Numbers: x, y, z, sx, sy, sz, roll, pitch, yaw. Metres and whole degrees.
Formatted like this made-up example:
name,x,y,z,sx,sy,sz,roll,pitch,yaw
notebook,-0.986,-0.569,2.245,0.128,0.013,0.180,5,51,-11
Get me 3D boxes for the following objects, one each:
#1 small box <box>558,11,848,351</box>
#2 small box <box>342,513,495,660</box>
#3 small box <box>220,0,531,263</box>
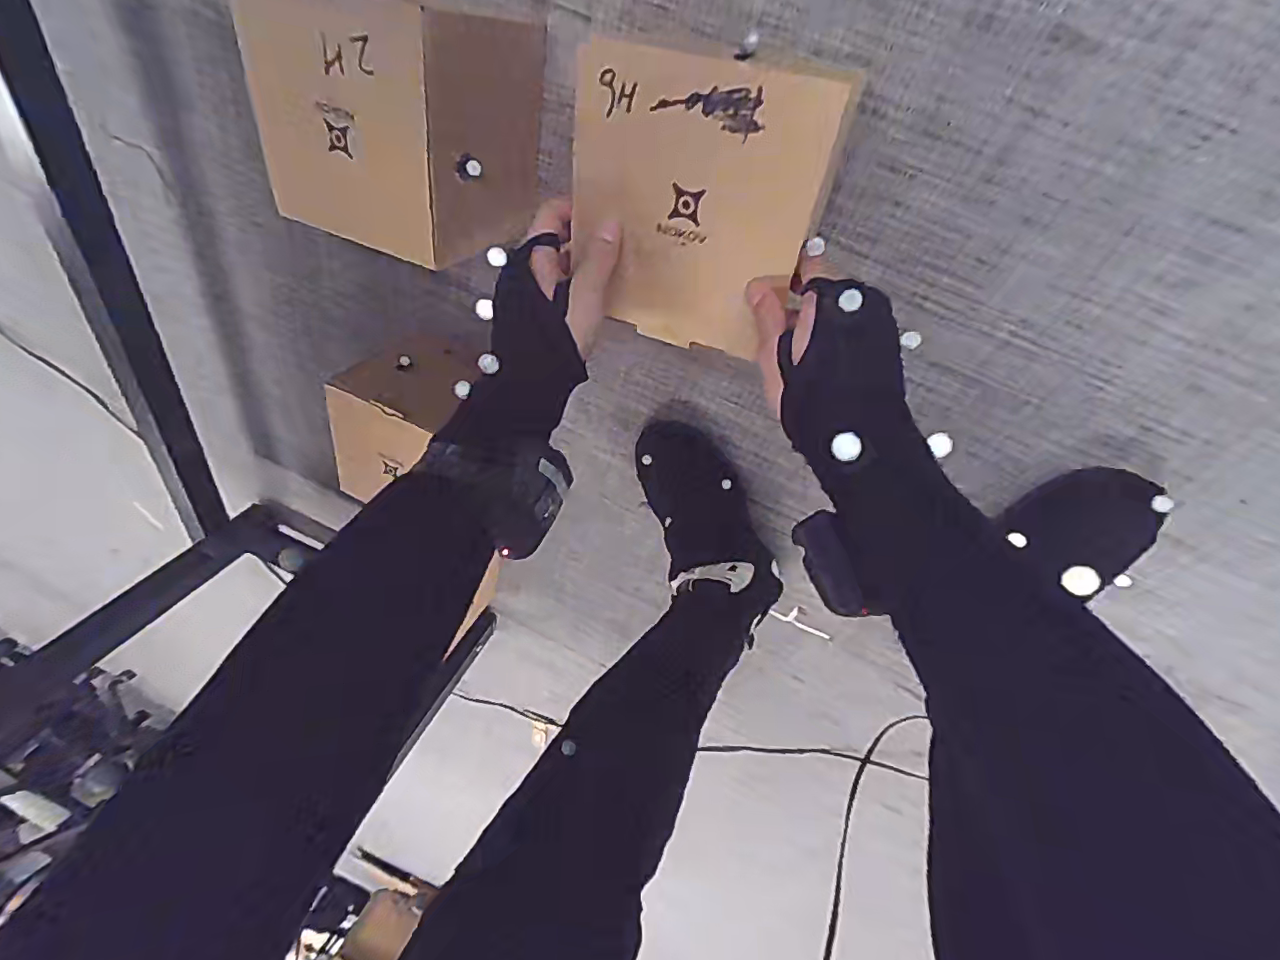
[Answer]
name,x,y,z,sx,sy,sz,roll,pitch,yaw
small box,0.049,-0.233,0.418,0.168,0.176,0.179,19,133,9
small box,-0.361,0.159,0.909,0.168,0.176,0.179,24,131,7
small box,-0.209,-0.321,0.472,0.168,0.176,0.179,22,131,8
